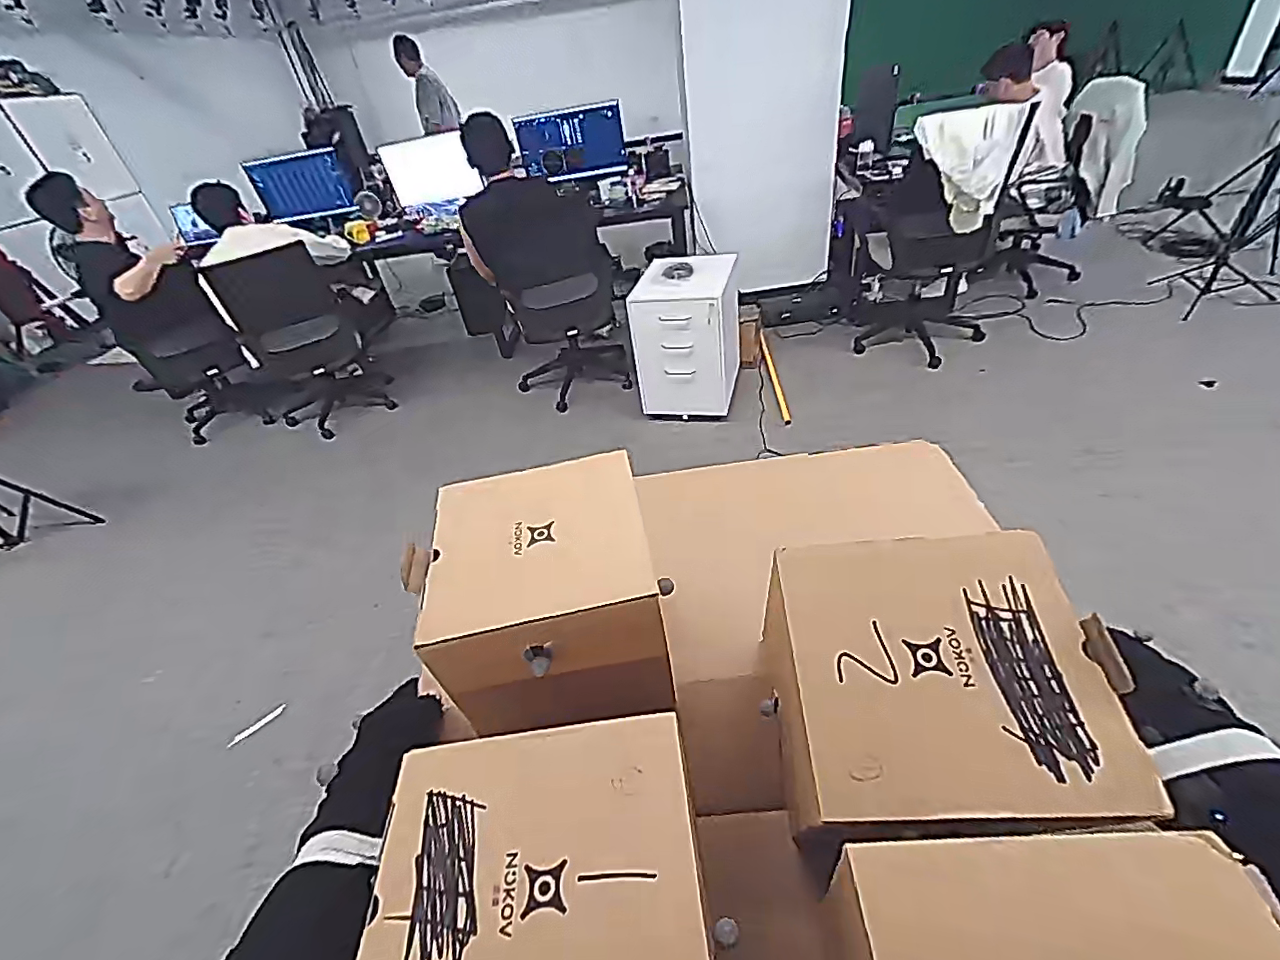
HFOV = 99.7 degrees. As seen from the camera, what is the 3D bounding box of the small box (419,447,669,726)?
[{"bbox_3d":[-0.074,0.098,0.497,0.179,0.176,0.168,-13,42,-1],"label":"small box"}]
